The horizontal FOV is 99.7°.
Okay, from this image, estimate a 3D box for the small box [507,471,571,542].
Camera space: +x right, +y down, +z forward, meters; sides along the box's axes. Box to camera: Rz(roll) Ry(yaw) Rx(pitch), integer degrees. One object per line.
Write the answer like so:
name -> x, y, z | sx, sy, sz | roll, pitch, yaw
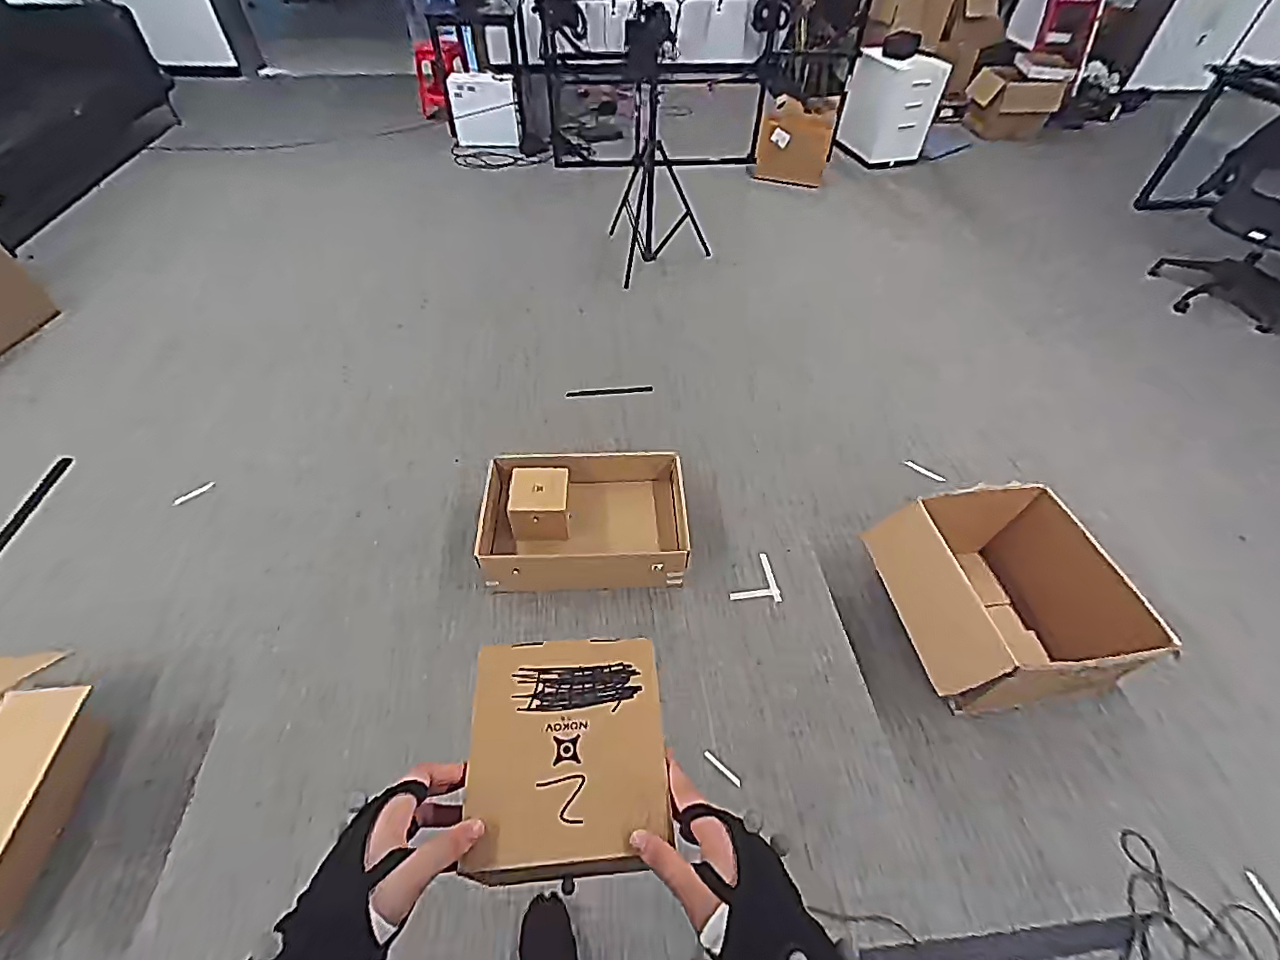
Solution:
small box -> -0.314, 0.088, 1.721 | 0.179, 0.176, 0.168 | 0, 52, -4
